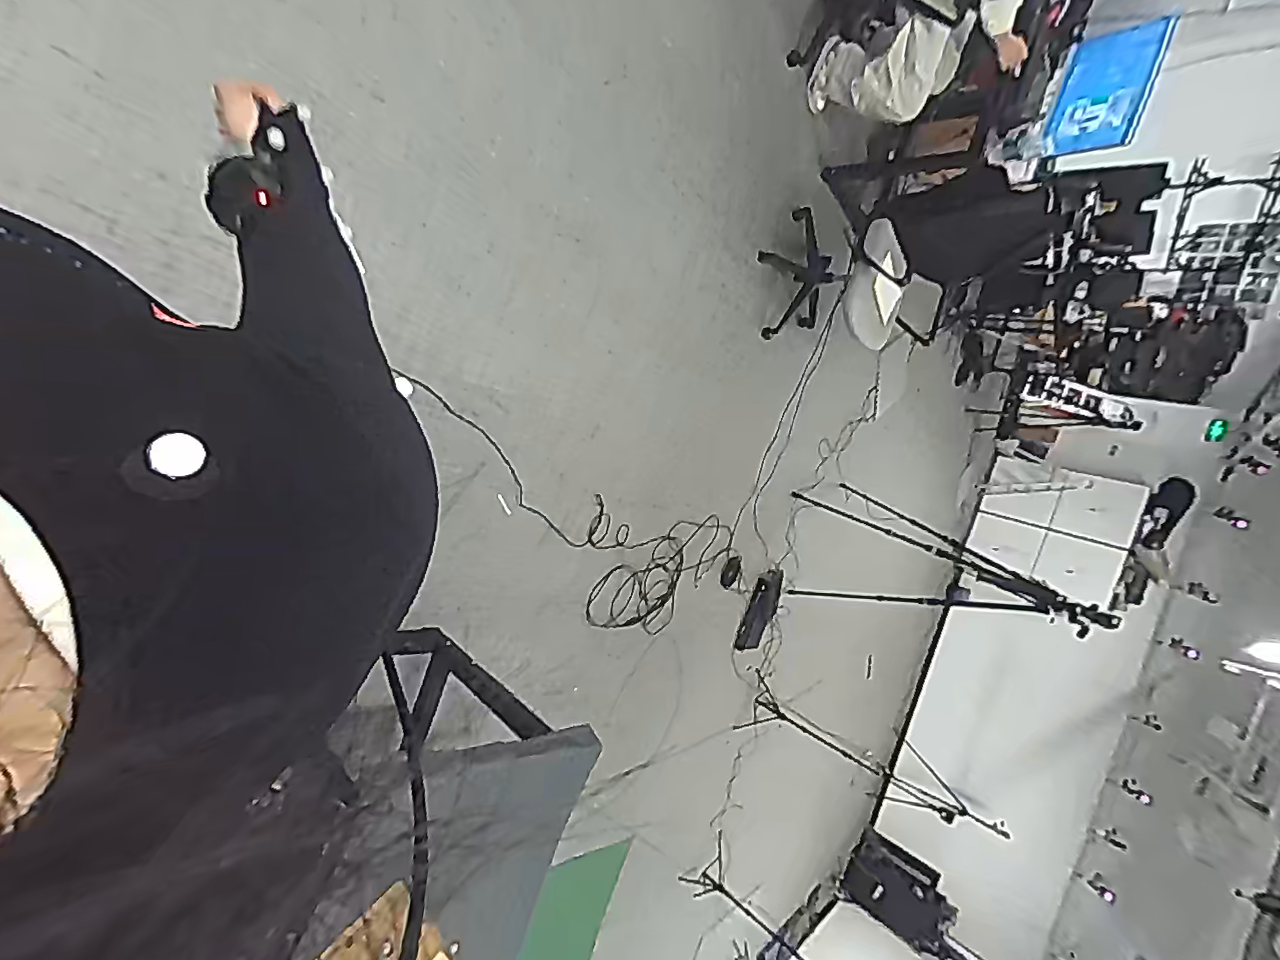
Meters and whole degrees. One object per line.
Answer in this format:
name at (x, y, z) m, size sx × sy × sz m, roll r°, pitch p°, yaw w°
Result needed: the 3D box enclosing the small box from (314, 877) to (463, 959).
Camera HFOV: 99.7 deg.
small box at (-0.436, 0.856, 0.954) m, size 0.168 × 0.176 × 0.179 m, roll -36°, pitch 129°, yaw -35°
